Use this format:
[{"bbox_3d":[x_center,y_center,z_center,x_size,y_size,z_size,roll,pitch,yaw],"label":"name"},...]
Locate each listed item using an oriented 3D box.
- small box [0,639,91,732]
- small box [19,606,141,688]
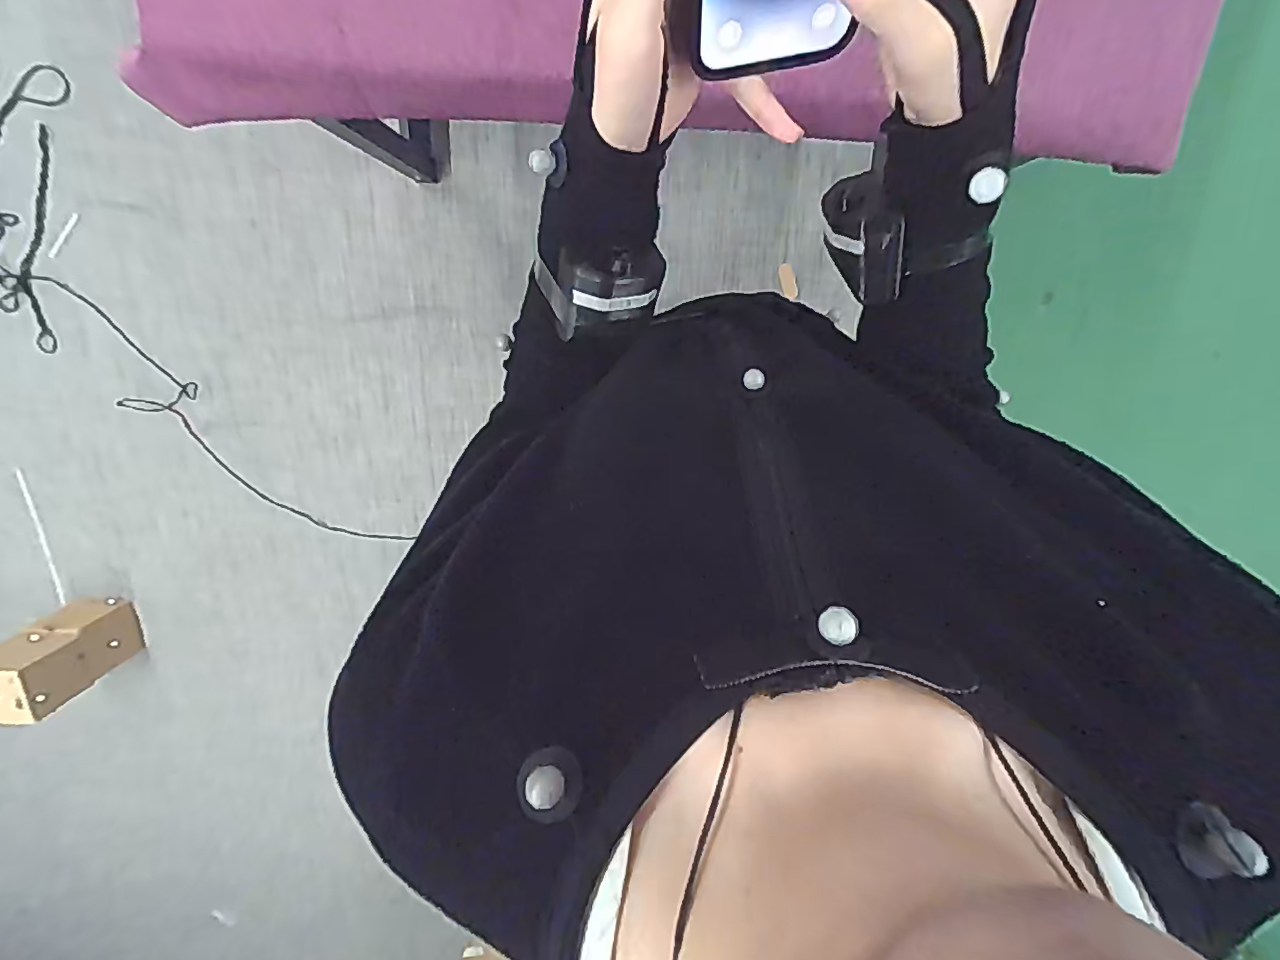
[{"bbox_3d":[-1.643,0.541,1.440,0.179,0.176,0.168,3,107,1],"label":"small box"},{"bbox_3d":[-1.641,0.488,1.596,0.168,0.176,0.179,2,107,1],"label":"small box"}]
